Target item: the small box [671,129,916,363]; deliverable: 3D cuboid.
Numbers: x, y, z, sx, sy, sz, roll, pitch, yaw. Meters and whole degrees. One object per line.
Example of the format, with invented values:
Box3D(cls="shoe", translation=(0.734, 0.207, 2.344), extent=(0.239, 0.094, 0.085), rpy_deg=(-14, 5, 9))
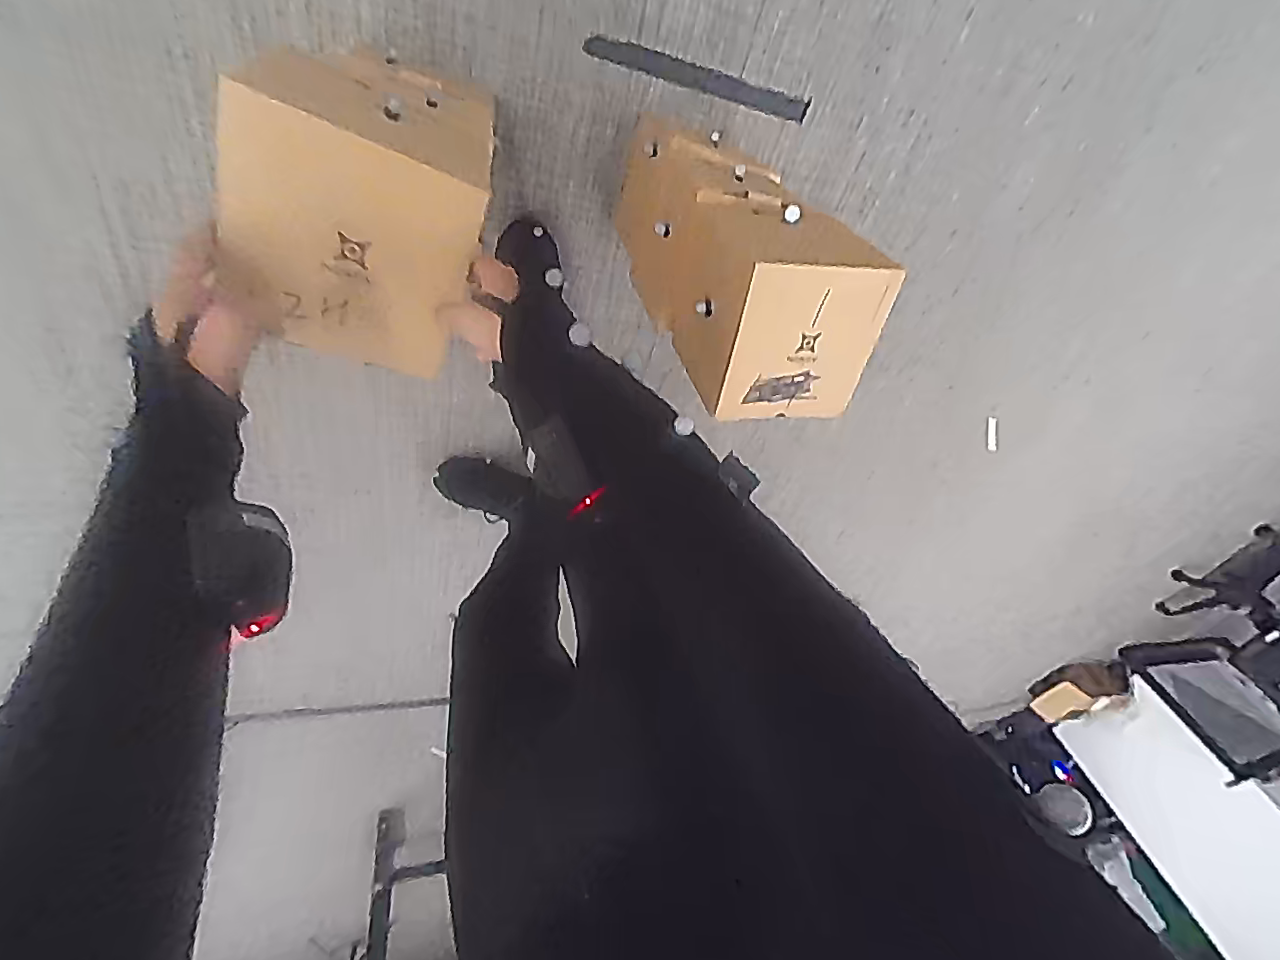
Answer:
Box3D(cls="small box", translation=(0.140, -0.244, 0.574), extent=(0.168, 0.176, 0.179), rpy_deg=(-3, 134, -16))
